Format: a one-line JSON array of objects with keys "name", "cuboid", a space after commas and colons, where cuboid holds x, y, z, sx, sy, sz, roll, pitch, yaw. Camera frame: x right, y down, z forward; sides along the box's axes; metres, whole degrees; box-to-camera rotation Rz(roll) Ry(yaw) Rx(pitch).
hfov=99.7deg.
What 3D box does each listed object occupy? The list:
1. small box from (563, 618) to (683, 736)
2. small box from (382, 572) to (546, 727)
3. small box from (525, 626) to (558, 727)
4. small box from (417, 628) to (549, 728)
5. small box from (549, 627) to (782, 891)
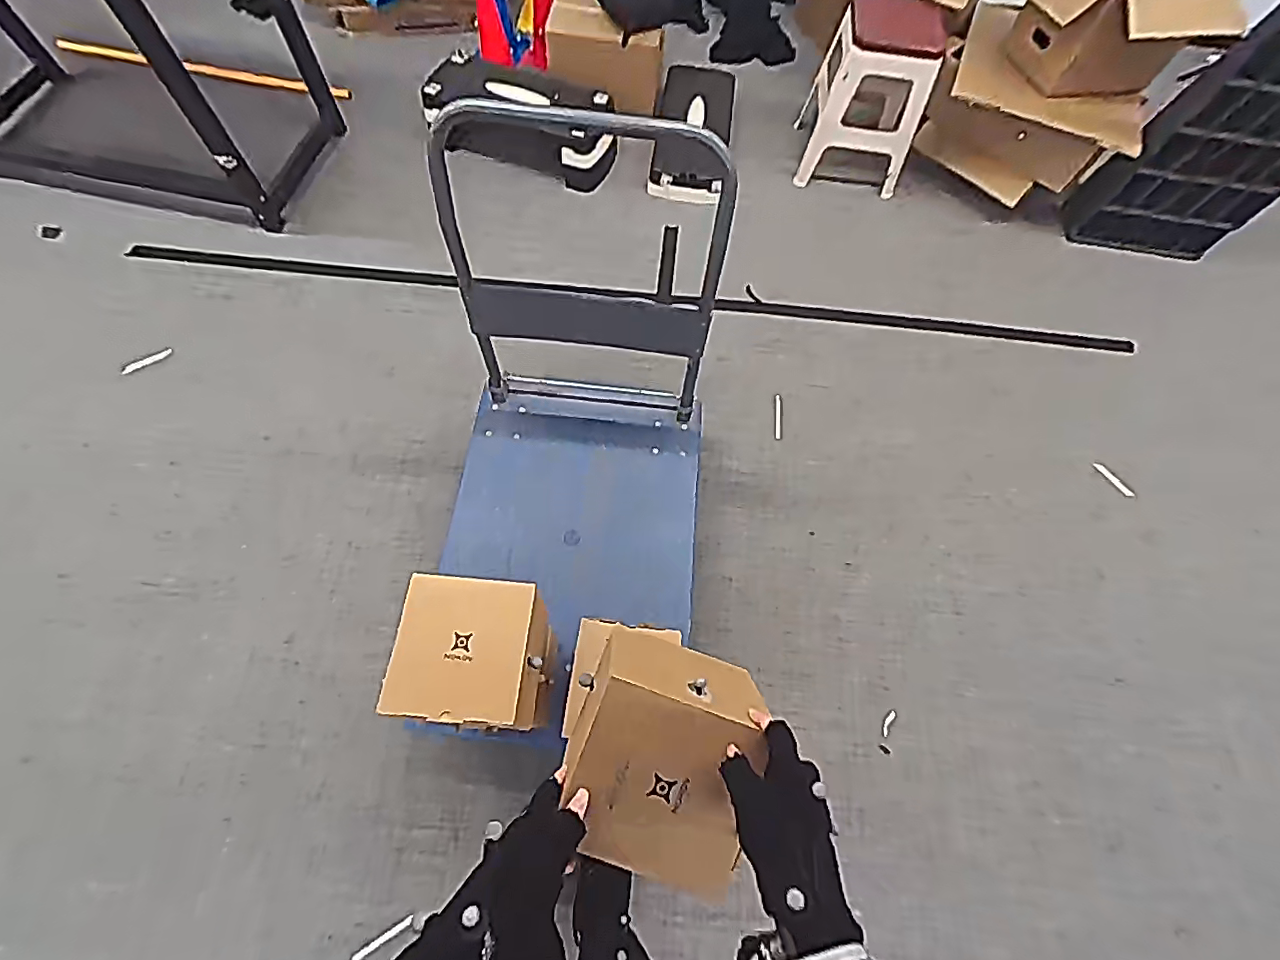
[{"name": "small box", "cuboid": [-0.028, 0.343, 0.901, 0.168, 0.176, 0.179, 8, 66, 0]}, {"name": "small box", "cuboid": [-0.228, 0.242, 0.754, 0.168, 0.176, 0.179, 6, 66, -1]}, {"name": "small box", "cuboid": [-0.255, 0.378, 1.051, 0.168, 0.176, 0.179, 6, 65, -2]}, {"name": "small box", "cuboid": [-0.247, 0.311, 0.901, 0.168, 0.176, 0.179, 4, 66, -3]}, {"name": "small box", "cuboid": [0.022, 0.279, 0.583, 0.179, 0.176, 0.168, 21, 91, -2]}]
